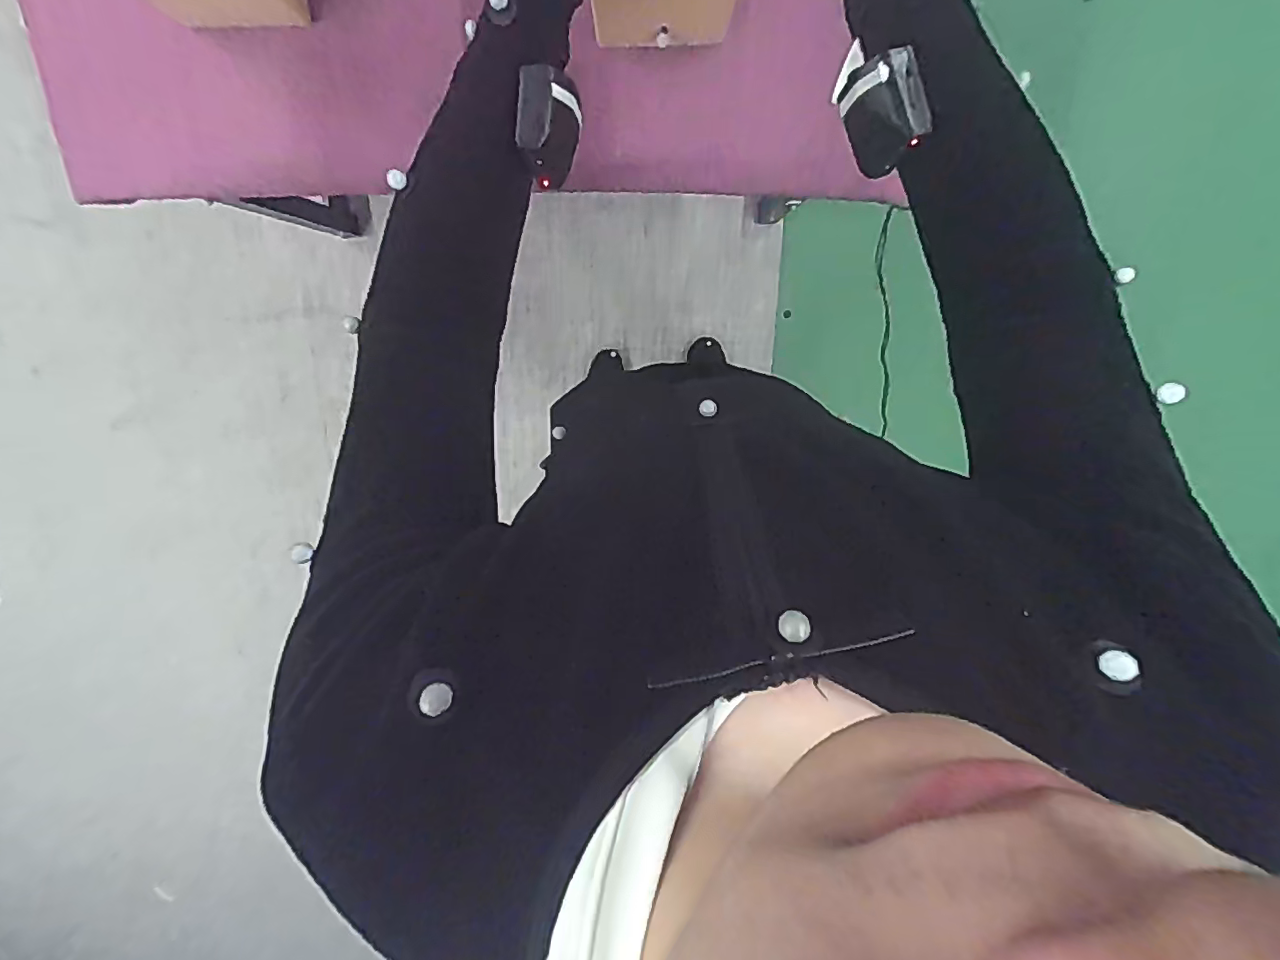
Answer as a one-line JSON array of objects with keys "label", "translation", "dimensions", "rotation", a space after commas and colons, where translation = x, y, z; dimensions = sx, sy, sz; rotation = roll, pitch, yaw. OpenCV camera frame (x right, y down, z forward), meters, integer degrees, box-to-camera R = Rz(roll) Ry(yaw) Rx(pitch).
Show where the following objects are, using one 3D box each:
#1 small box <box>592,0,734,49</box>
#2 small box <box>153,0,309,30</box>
[{"label": "small box", "translation": [0.028, -0.650, 0.644], "dimensions": [0.179, 0.176, 0.168], "rotation": [-2, 106, 1]}, {"label": "small box", "translation": [-0.526, -0.674, 0.643], "dimensions": [0.179, 0.176, 0.168], "rotation": [0, 106, 0]}]
